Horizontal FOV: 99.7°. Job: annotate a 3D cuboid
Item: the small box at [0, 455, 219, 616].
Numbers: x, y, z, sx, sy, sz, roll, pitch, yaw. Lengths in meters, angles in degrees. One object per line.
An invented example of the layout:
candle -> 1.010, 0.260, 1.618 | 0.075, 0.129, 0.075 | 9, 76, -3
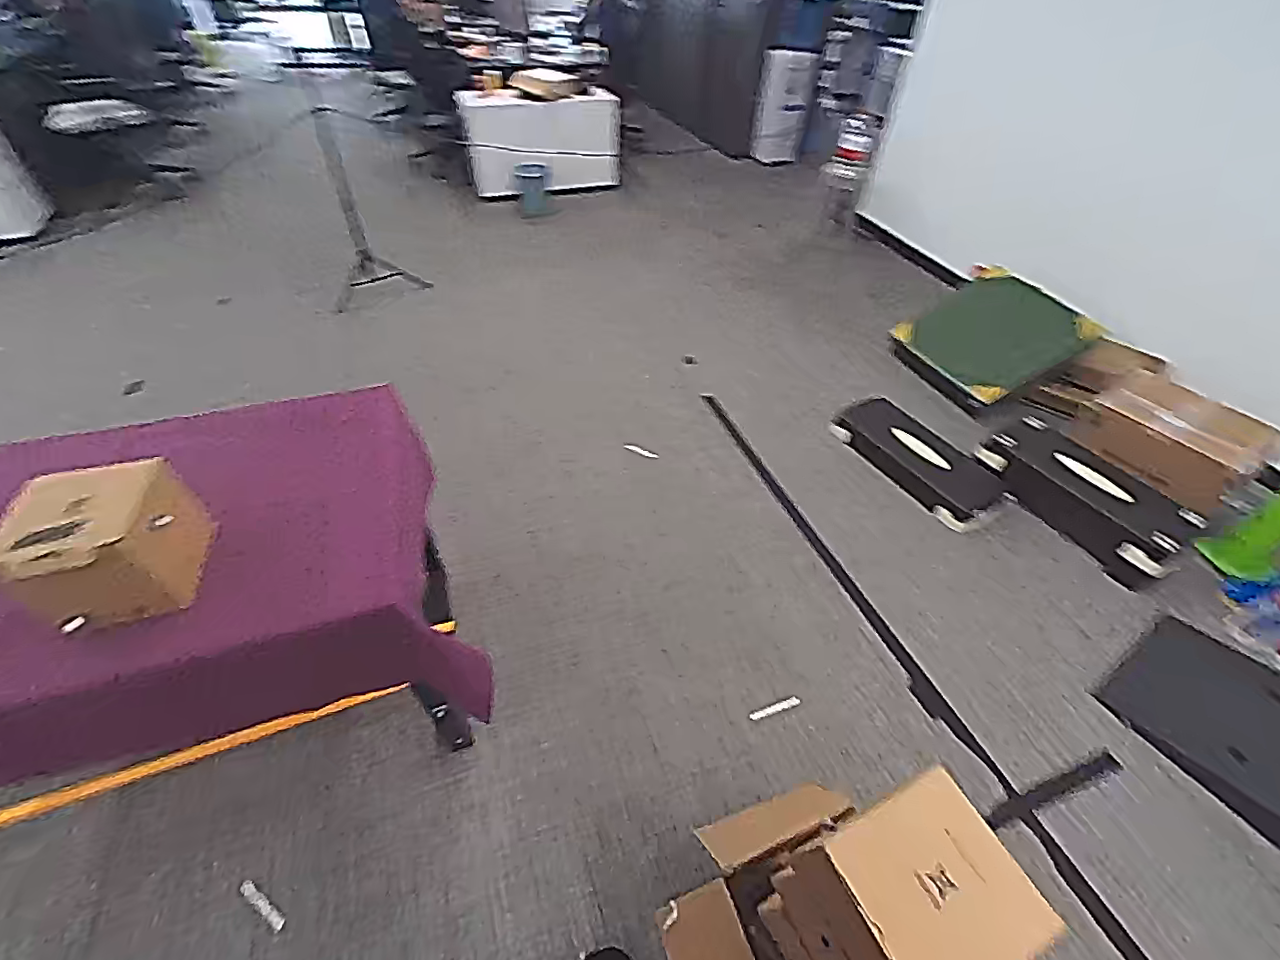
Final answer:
small box -> -0.792, 0.090, 0.828 | 0.168, 0.176, 0.179 | -10, 47, -13

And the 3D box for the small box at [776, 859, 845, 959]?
small box -> 0.307, 0.582, 0.728 | 0.168, 0.176, 0.179 | -21, 54, -17

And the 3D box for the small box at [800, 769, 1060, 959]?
small box -> 0.303, 0.466, 0.613 | 0.179, 0.176, 0.168 | -20, 54, -17

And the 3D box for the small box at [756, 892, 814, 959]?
small box -> 0.333, 0.808, 0.969 | 0.168, 0.176, 0.179 | -33, 59, -26
